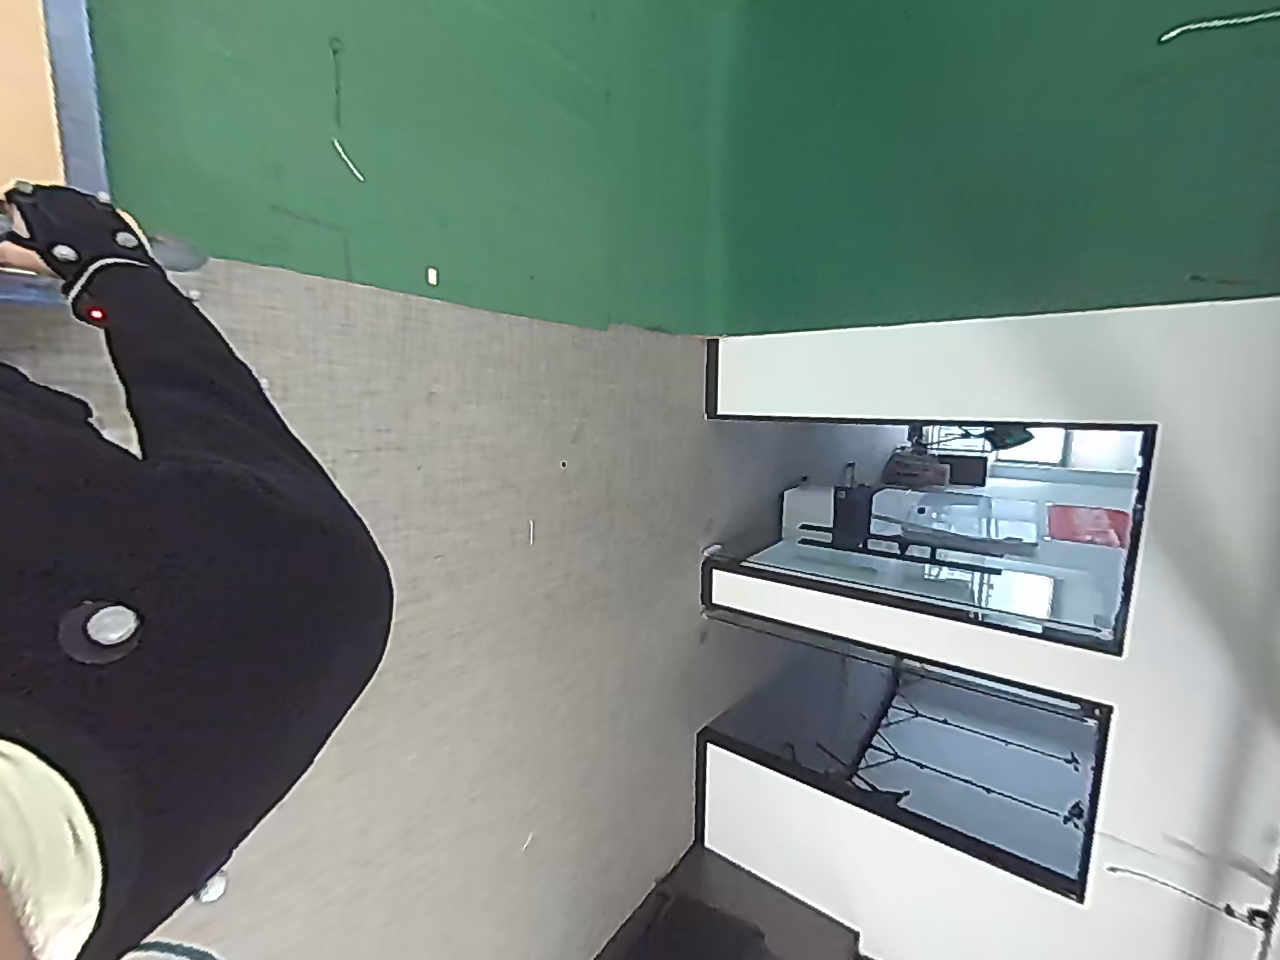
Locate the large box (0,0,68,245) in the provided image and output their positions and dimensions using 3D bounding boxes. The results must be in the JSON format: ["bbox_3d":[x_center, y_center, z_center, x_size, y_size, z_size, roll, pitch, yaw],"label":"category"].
[{"bbox_3d":[-1.073,-0.589,0.750,0.320,0.320,0.408,-12,103,-53],"label":"large box"}]
